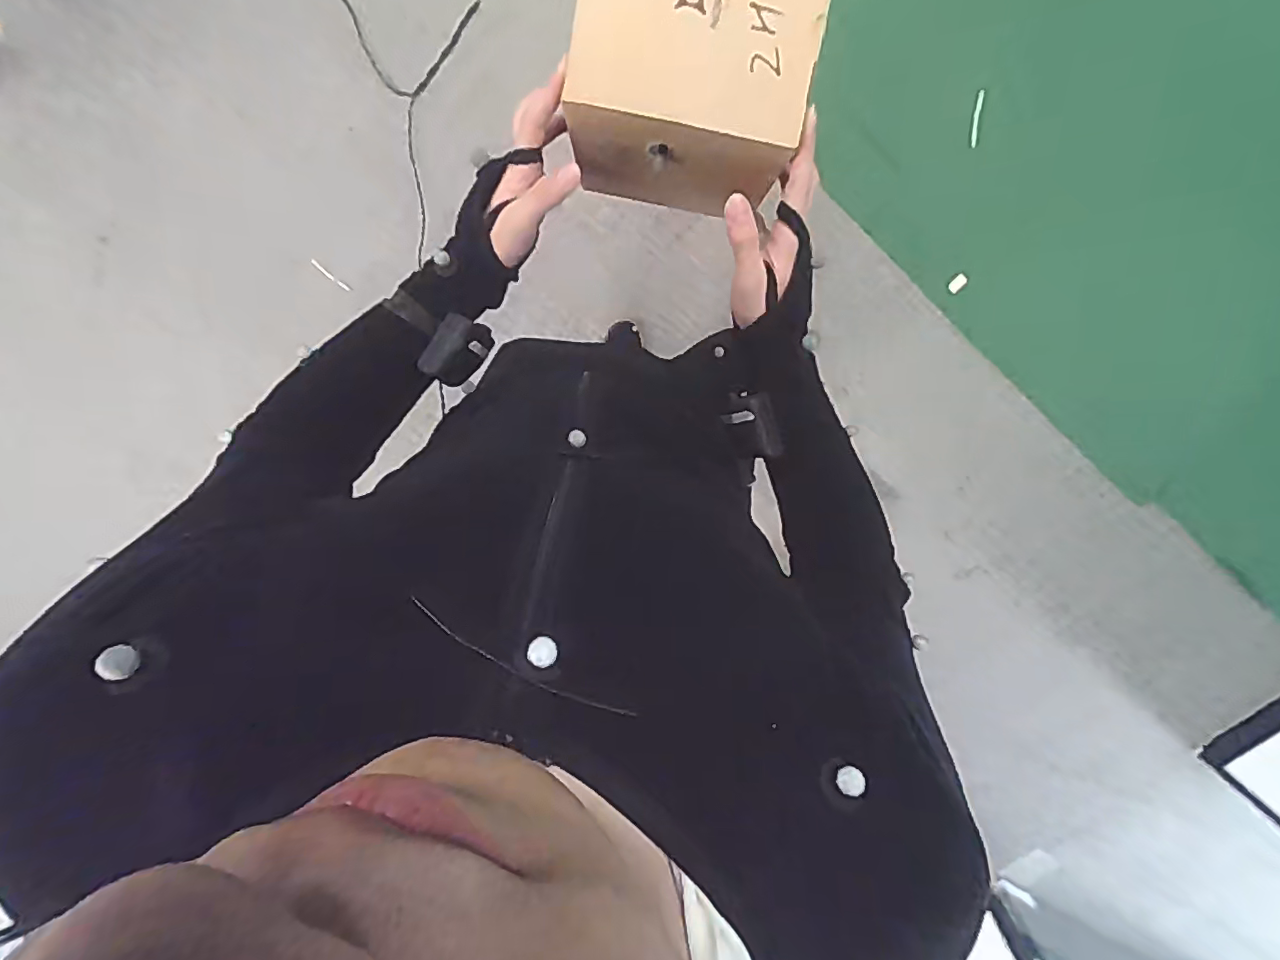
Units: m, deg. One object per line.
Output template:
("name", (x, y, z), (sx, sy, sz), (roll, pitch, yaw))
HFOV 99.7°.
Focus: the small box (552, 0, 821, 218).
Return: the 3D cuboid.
("small box", (0.036, -0.341, 0.451), (0.179, 0.176, 0.168), (10, 98, -3))
